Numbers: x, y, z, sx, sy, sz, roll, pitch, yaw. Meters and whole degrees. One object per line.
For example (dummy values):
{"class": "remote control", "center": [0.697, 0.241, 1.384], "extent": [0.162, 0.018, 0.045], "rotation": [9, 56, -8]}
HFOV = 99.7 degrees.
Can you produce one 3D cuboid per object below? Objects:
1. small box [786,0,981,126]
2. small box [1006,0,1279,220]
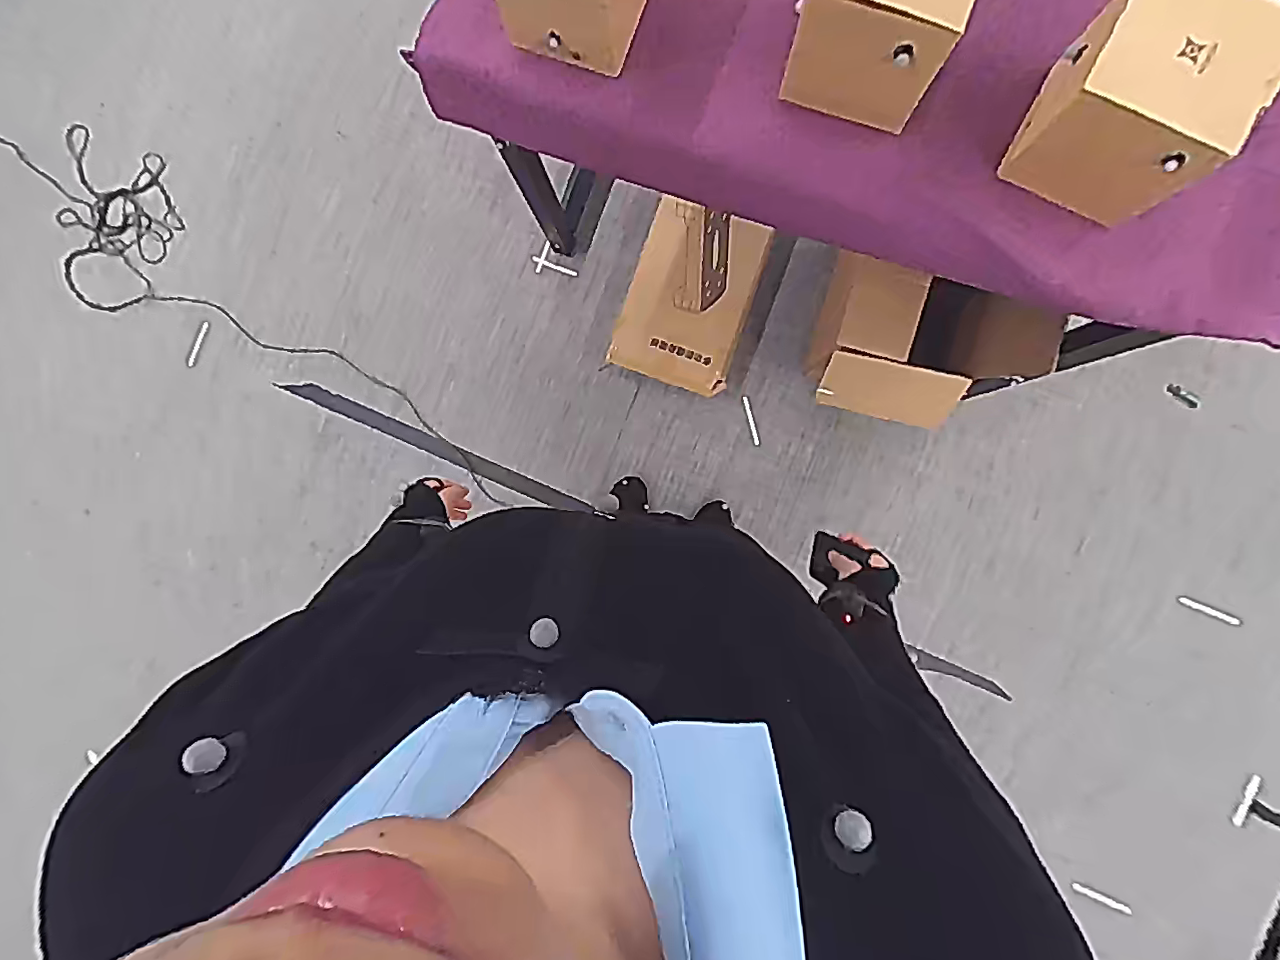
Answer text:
{"class": "small box", "center": [0.302, -0.579, 0.661], "extent": [0.179, 0.176, 0.168], "rotation": [20, 89, 4]}
{"class": "small box", "center": [0.591, -0.446, 0.642], "extent": [0.179, 0.176, 0.168], "rotation": [27, 92, 3]}
